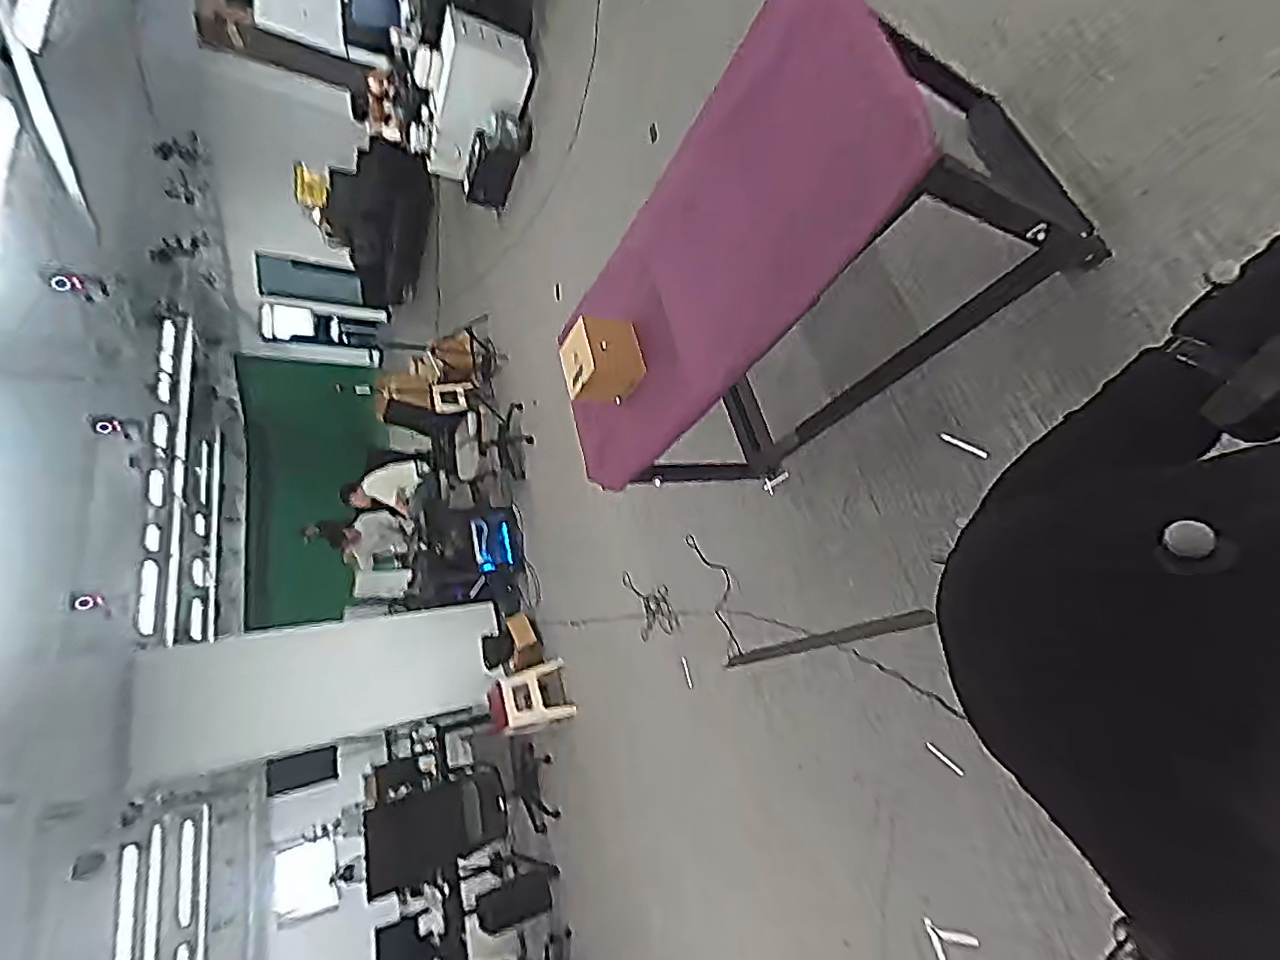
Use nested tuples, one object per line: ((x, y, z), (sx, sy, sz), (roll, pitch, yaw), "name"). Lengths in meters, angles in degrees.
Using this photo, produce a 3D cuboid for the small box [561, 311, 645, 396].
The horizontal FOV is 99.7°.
((-0.104, -0.353, 1.541), (0.168, 0.176, 0.179), (-41, 58, 50), "small box")
